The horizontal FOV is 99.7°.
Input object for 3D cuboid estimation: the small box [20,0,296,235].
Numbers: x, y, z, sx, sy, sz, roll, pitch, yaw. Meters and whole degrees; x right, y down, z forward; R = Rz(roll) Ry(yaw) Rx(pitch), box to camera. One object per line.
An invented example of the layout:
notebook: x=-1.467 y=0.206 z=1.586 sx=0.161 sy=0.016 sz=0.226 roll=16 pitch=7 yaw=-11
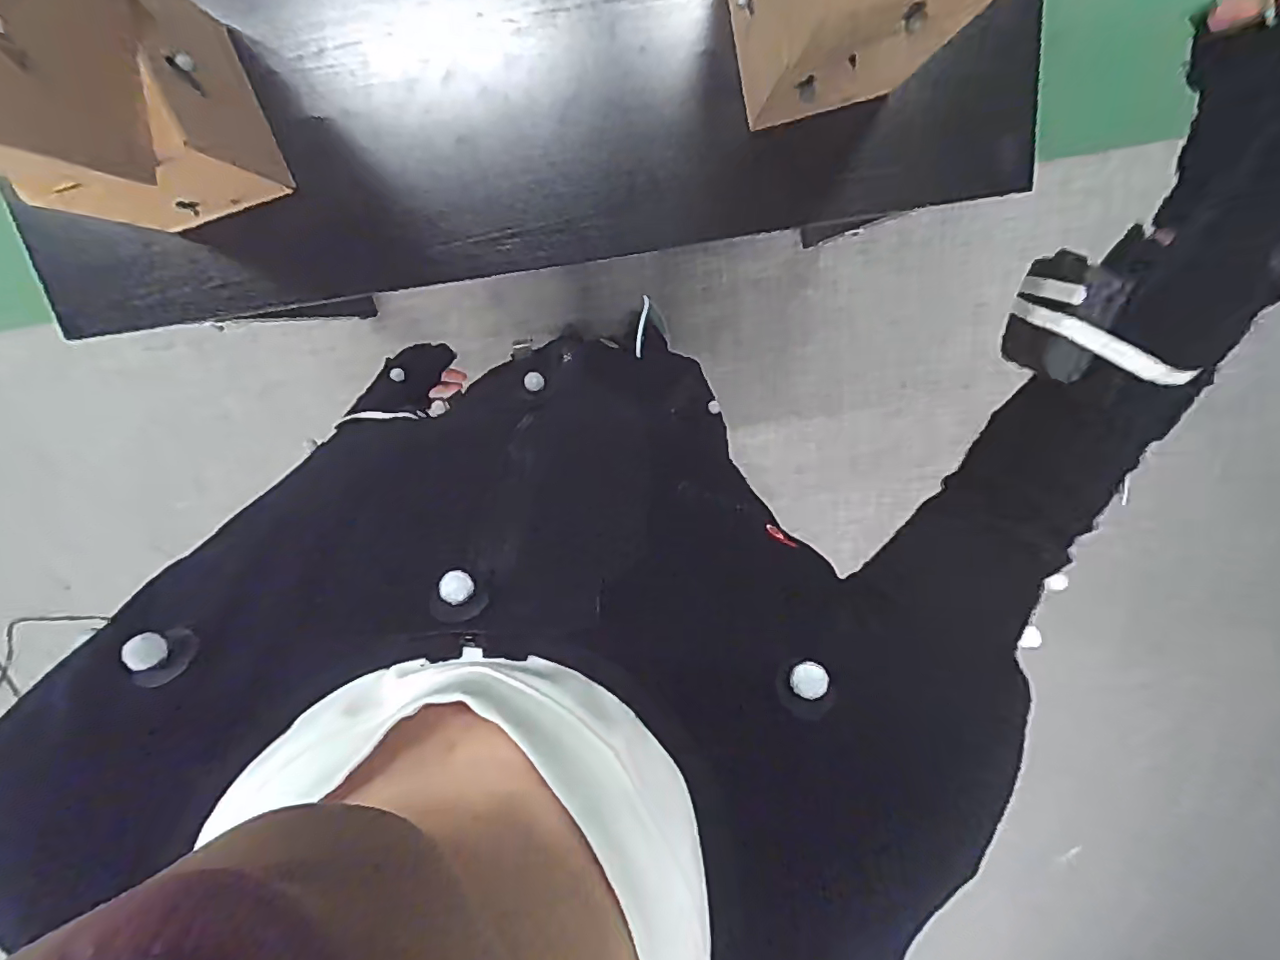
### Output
small box: x=-0.502 y=-0.371 z=0.547 sx=0.168 sy=0.176 sz=0.179 roll=-17 pitch=107 yaw=4

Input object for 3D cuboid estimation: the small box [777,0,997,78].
small box: x=0.185 y=-0.425 z=0.365 sx=0.168 sy=0.176 sz=0.179 roll=-16 pitch=106 yaw=5

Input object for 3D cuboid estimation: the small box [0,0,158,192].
small box: x=-0.503 y=-0.323 z=0.390 sx=0.168 sy=0.176 sz=0.179 roll=4 pitch=106 yaw=-3
